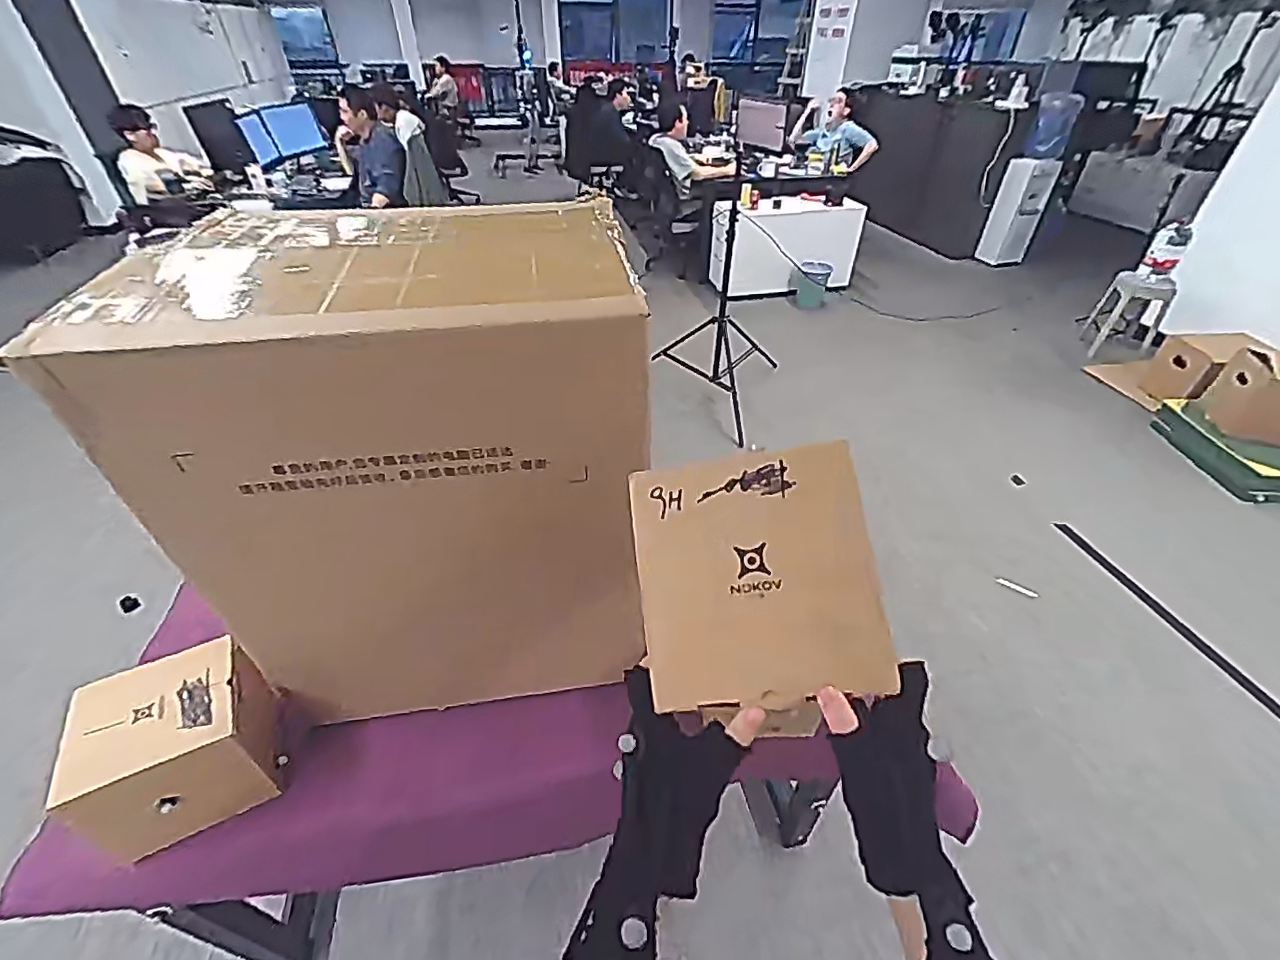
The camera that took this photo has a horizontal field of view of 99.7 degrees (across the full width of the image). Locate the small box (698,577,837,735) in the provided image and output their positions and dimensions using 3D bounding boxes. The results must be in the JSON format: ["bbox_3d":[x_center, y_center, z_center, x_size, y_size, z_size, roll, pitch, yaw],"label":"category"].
[{"bbox_3d":[0.181,0.270,0.827,0.168,0.176,0.179,0,37,-1],"label":"small box"}]
